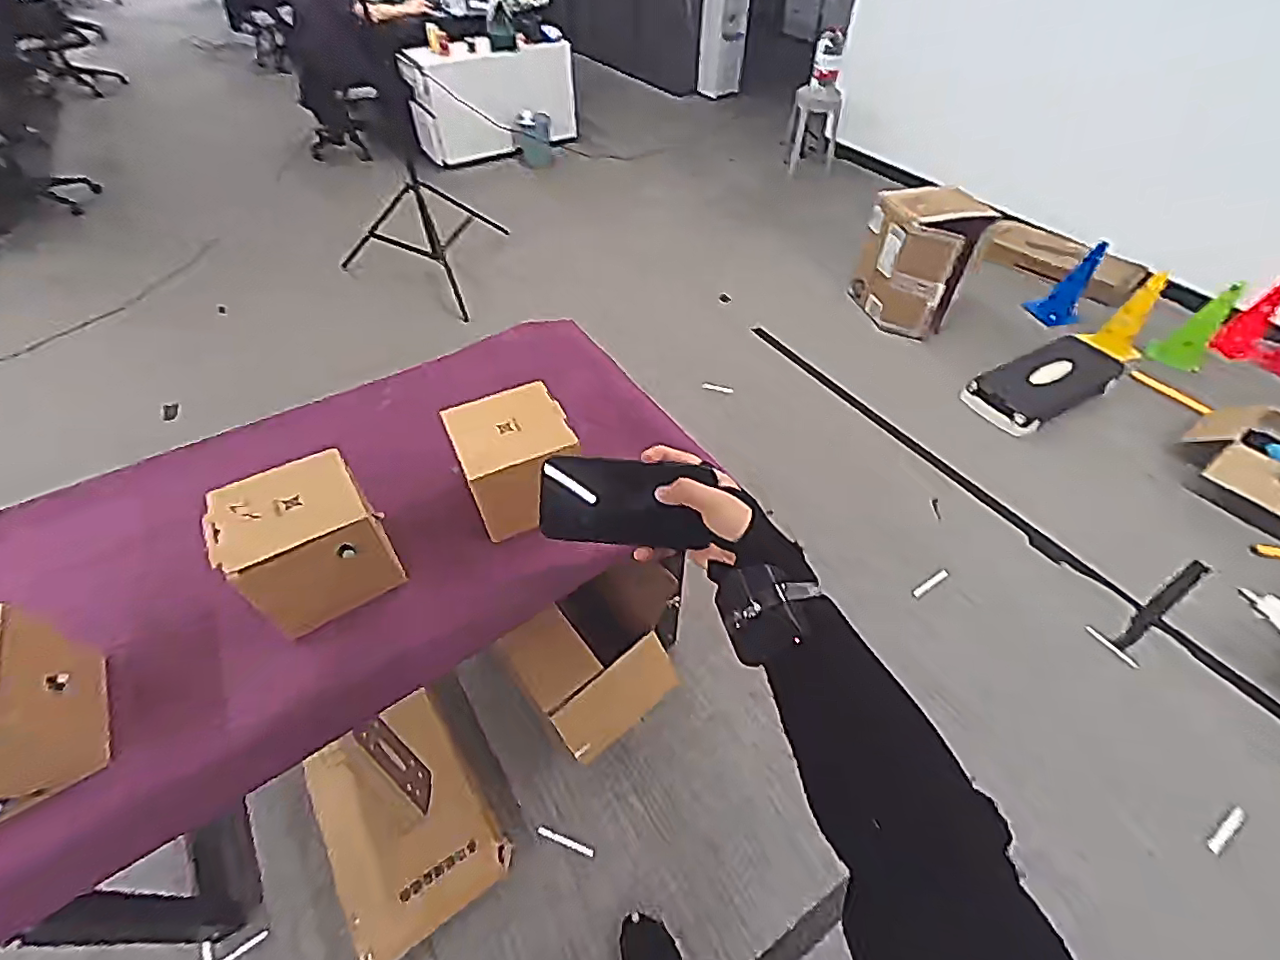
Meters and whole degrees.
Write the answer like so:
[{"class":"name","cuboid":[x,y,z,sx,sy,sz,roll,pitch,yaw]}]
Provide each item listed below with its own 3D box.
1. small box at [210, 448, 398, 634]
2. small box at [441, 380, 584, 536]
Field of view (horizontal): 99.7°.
[{"class":"small box","cuboid":[-0.479,0.090,0.797,0.179,0.176,0.168,-28,53,-22]},{"class":"small box","cuboid":[-0.206,-0.034,0.905,0.179,0.176,0.168,-22,53,-18]}]
